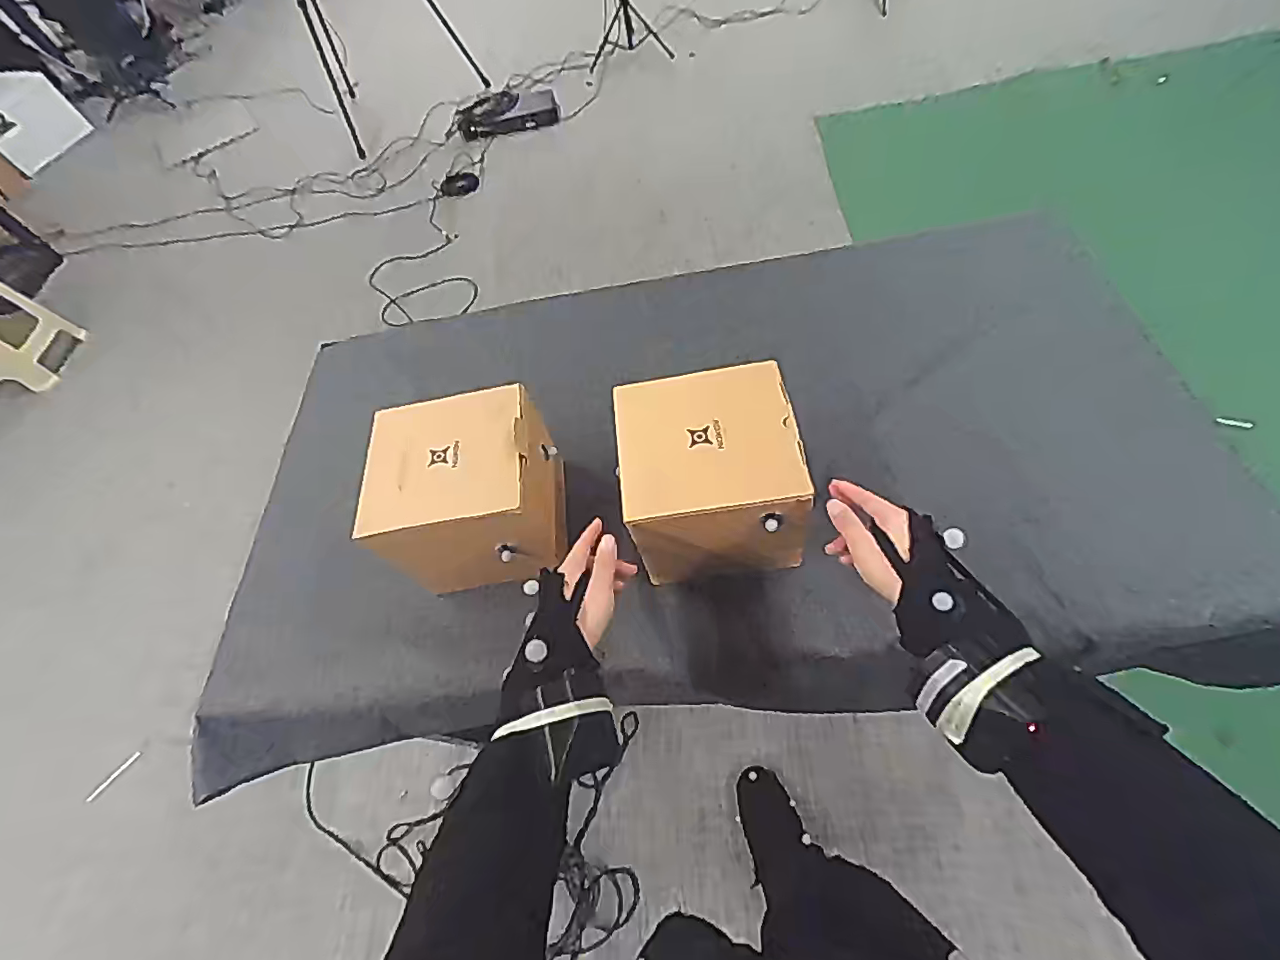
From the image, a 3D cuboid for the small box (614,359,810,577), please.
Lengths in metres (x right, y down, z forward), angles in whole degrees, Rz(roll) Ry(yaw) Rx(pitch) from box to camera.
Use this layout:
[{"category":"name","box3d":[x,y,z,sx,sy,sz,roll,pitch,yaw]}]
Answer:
[{"category":"small box","box3d":[0.076,-0.004,0.598,0.179,0.176,0.168,-9,58,5]}]

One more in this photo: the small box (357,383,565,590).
[{"category":"small box","box3d":[-0.192,0.015,0.638,0.179,0.176,0.168,-11,57,6]}]
